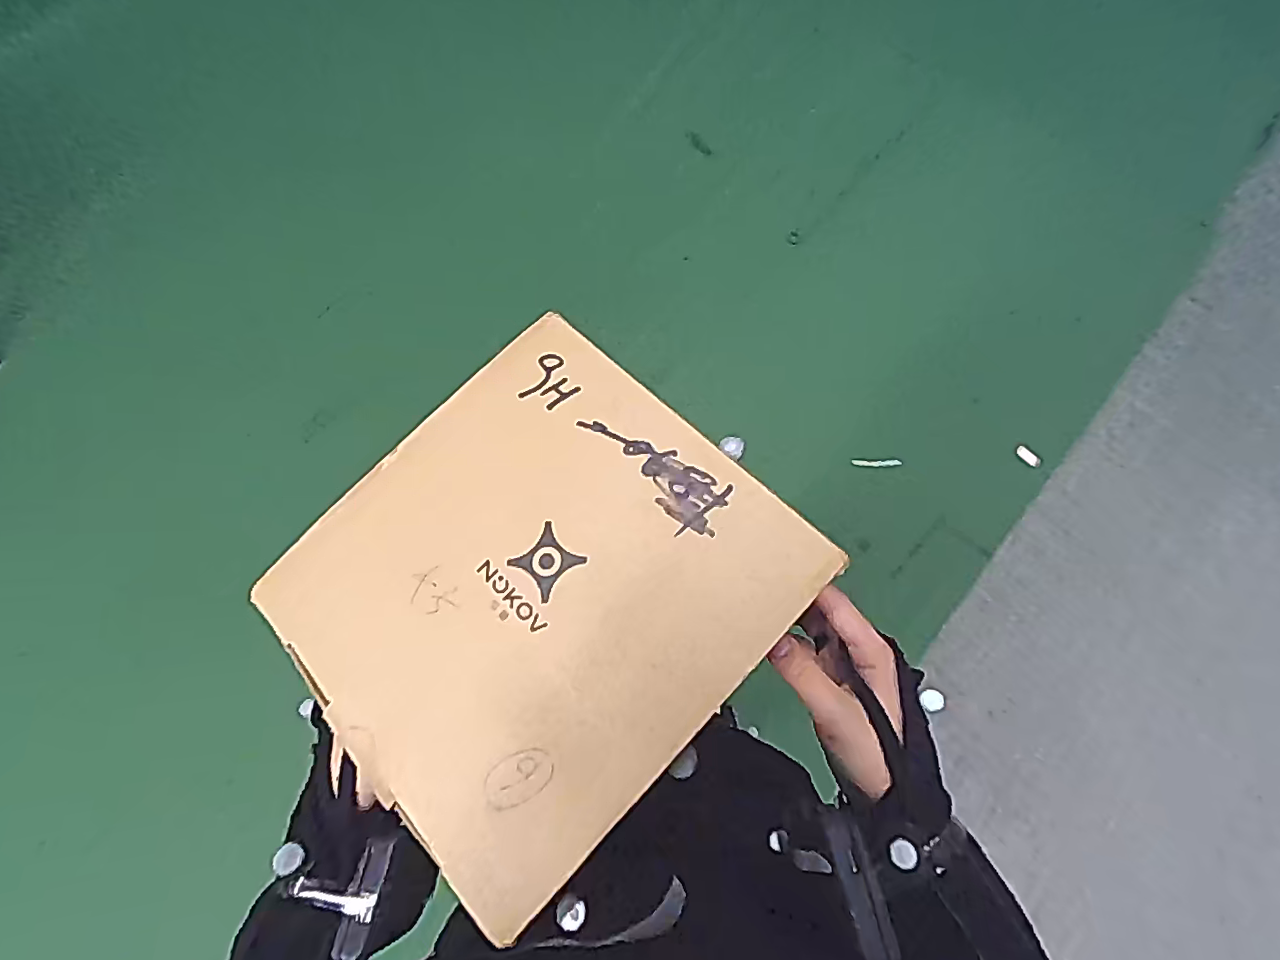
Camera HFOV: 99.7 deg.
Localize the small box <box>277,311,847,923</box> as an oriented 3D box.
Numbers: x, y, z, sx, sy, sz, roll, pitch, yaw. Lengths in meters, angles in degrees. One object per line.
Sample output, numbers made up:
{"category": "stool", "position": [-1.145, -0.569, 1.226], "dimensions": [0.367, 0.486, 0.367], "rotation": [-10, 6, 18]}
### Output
{"category": "small box", "position": [-0.026, 0.059, 0.285], "dimensions": [0.179, 0.176, 0.168], "rotation": [-44, 72, -6]}
